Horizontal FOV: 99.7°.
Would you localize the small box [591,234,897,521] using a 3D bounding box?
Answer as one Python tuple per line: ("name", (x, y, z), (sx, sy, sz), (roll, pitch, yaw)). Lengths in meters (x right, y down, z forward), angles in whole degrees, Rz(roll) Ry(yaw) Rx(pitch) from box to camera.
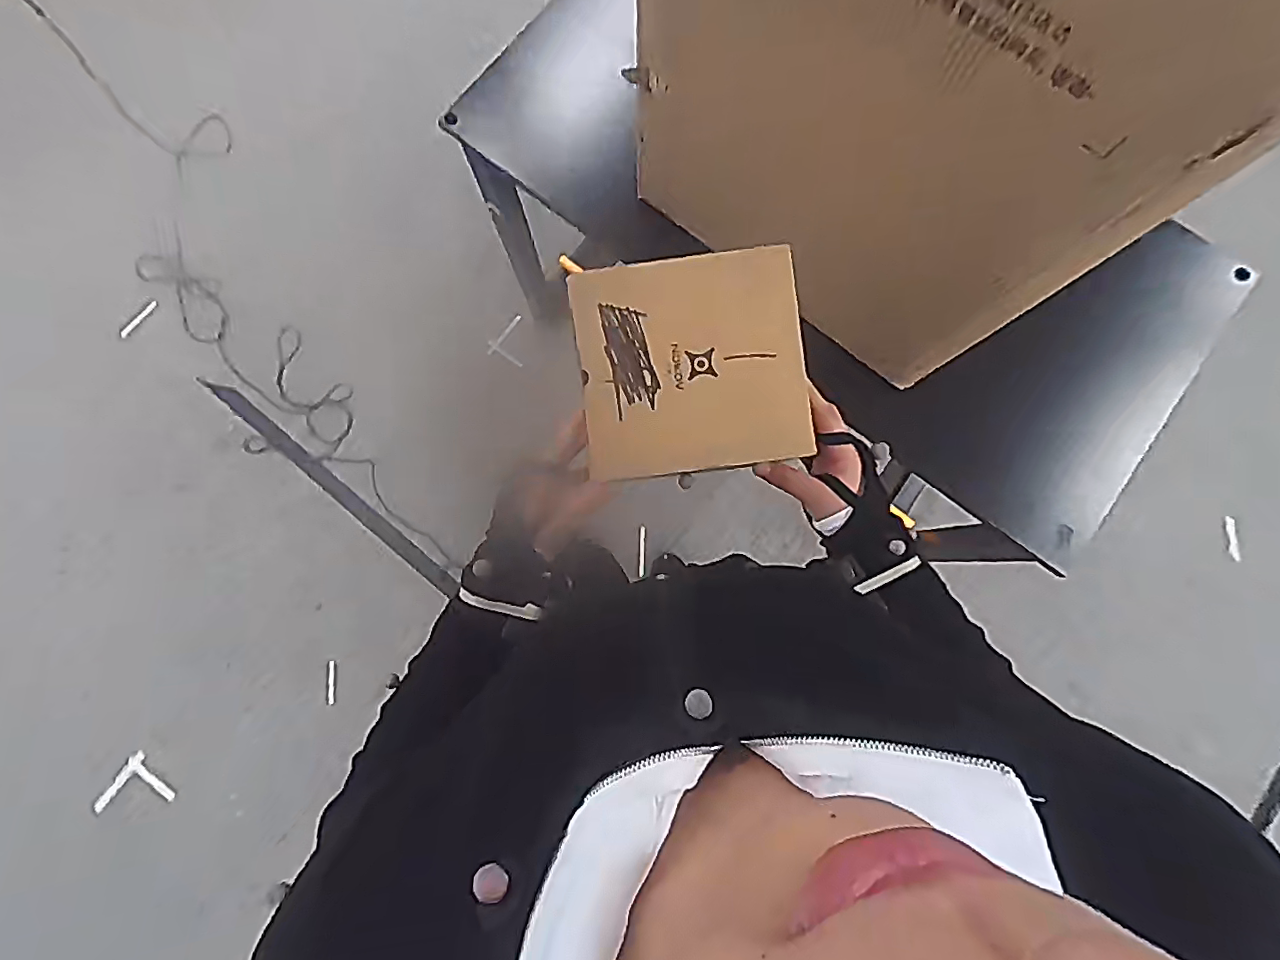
("small box", (0.068, -0.061, 0.417), (0.179, 0.176, 0.168), (-7, 90, 2))
